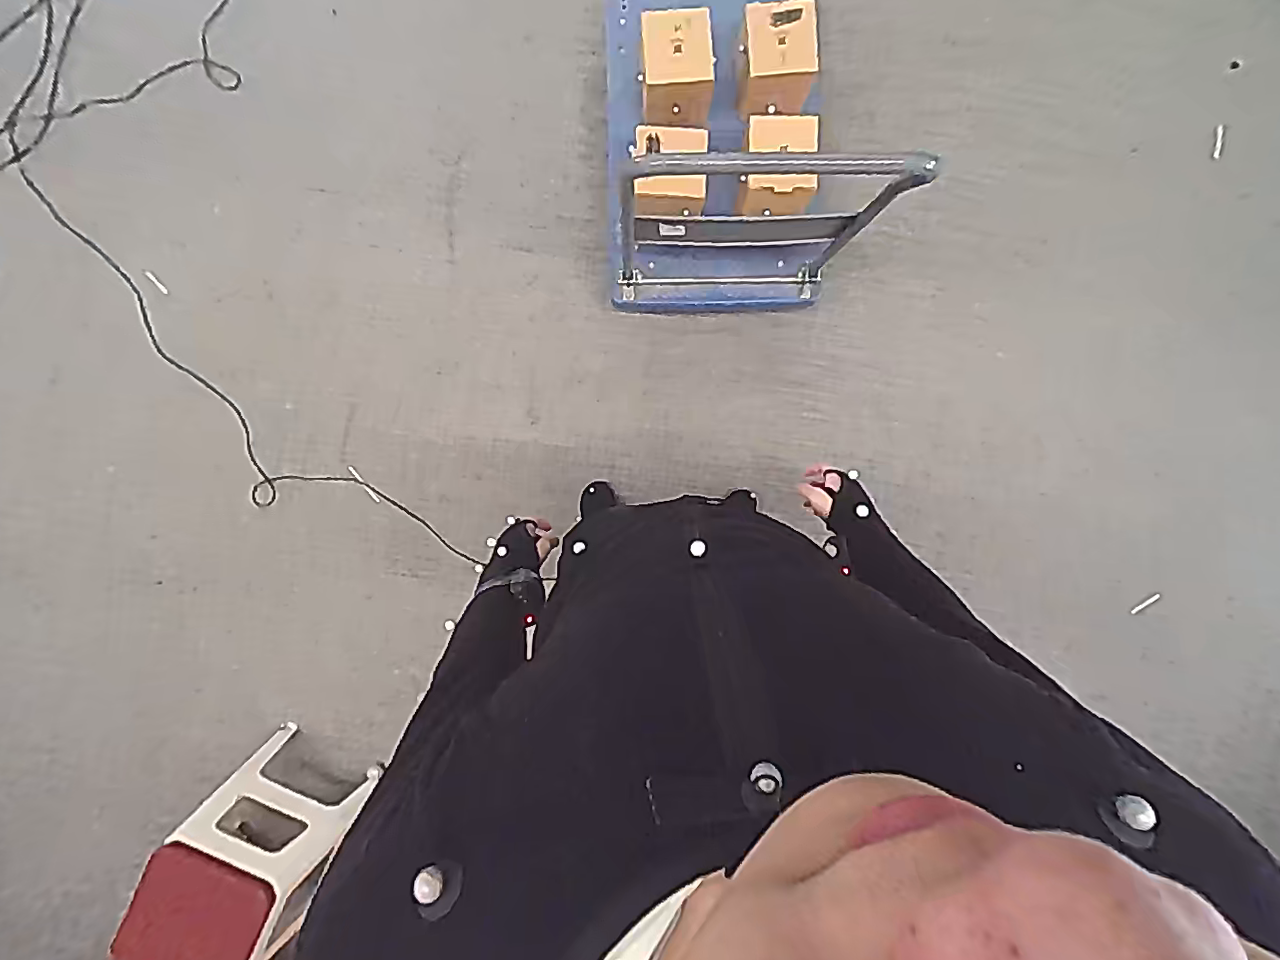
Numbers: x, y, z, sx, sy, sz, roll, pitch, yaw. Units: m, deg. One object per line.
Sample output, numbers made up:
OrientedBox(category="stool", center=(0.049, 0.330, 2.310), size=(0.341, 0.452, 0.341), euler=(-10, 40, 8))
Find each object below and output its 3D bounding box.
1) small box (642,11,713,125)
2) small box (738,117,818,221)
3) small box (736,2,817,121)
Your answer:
OrientedBox(category="small box", center=(0.093, -1.044, 1.390), size=(0.168, 0.176, 0.179), euler=(-4, 90, 0))
OrientedBox(category="small box", center=(0.348, -0.795, 1.391), size=(0.168, 0.176, 0.179), euler=(0, 91, 0))
OrientedBox(category="small box", center=(0.343, -1.066, 1.387), size=(0.168, 0.176, 0.179), euler=(-4, 91, 1))
